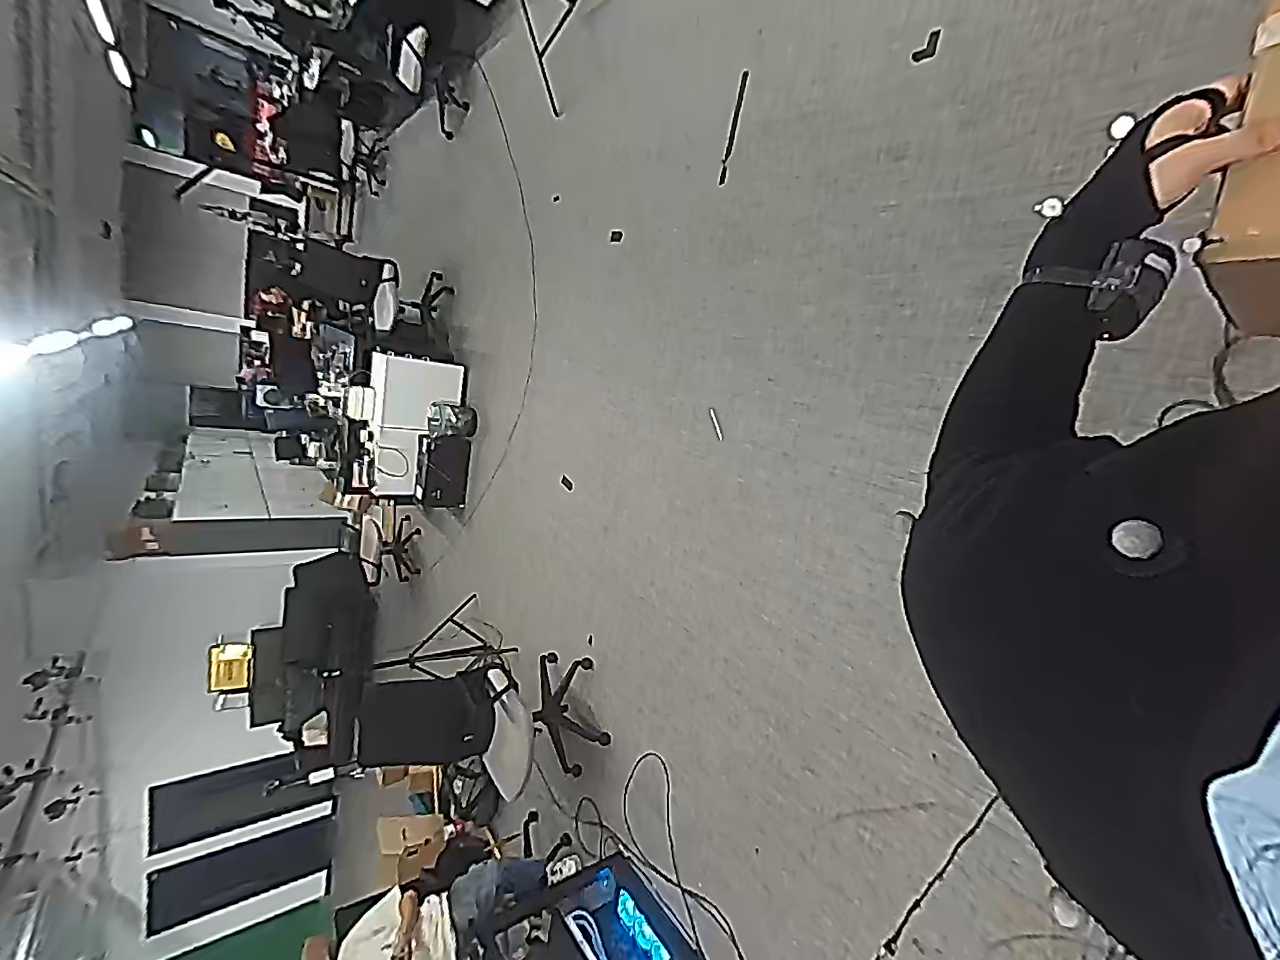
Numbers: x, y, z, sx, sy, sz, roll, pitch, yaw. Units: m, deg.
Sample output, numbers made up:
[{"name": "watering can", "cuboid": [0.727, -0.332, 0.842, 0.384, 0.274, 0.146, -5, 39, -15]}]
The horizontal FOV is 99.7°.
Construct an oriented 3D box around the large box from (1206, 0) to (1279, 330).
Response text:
[{"name": "large box", "cuboid": [0.685, -0.272, 0.319, 0.408, 0.320, 0.320, 20, 104, 52]}]
